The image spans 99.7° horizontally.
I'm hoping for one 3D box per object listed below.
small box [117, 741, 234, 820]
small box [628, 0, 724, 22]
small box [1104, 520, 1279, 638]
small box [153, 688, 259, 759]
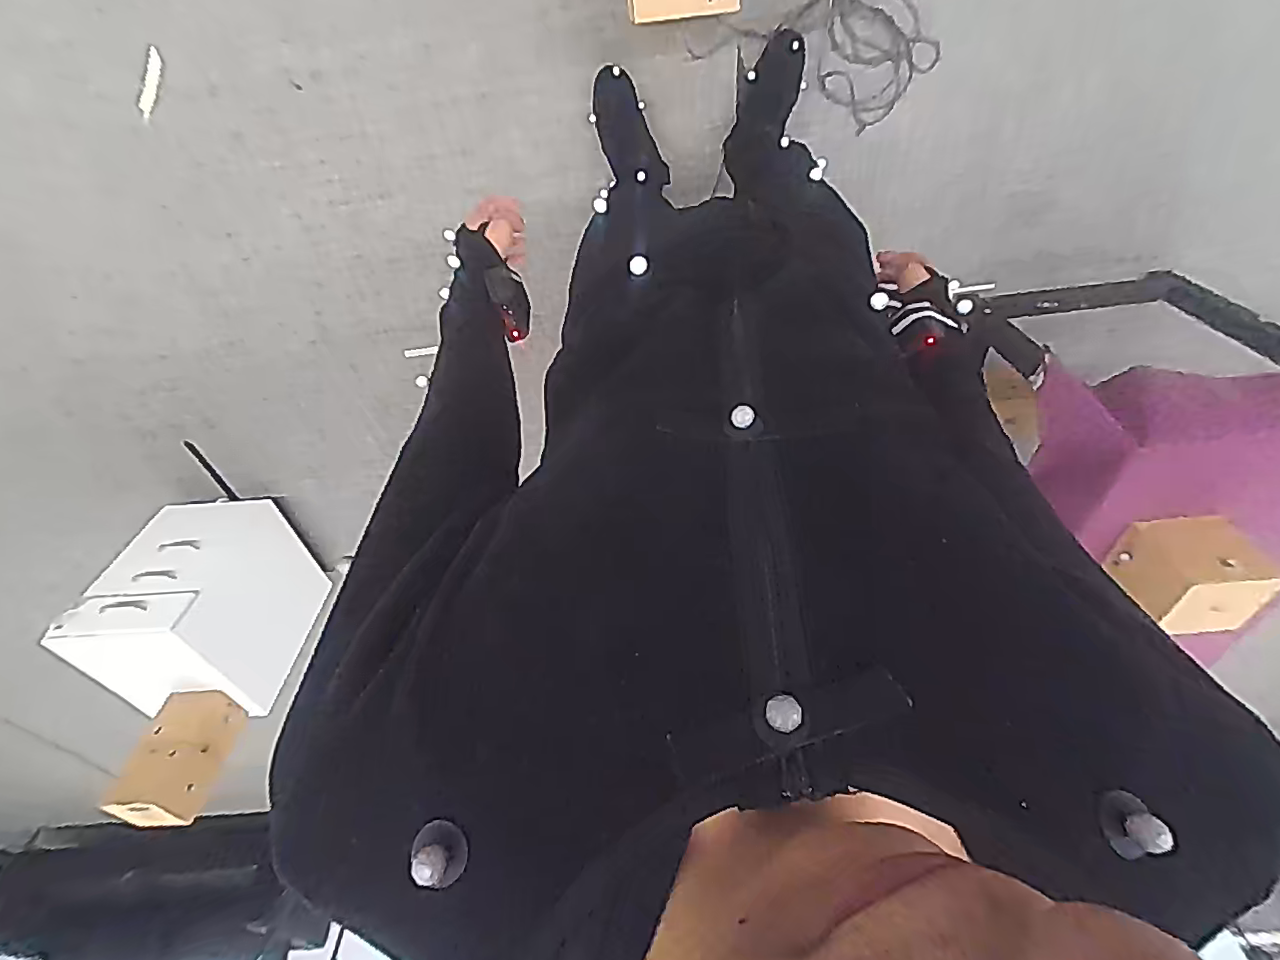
[{"bbox_3d":[-1.398,0.907,1.641,0.168,0.176,0.179,-4,132,4],"label":"small box"},{"bbox_3d":[0.059,-0.969,1.004,0.179,0.176,0.168,-6,131,4],"label":"small box"},{"bbox_3d":[1.104,0.194,1.082,0.179,0.176,0.168,-5,131,3],"label":"small box"},{"bbox_3d":[-1.404,0.797,1.763,0.179,0.176,0.168,-4,132,4],"label":"small box"}]
